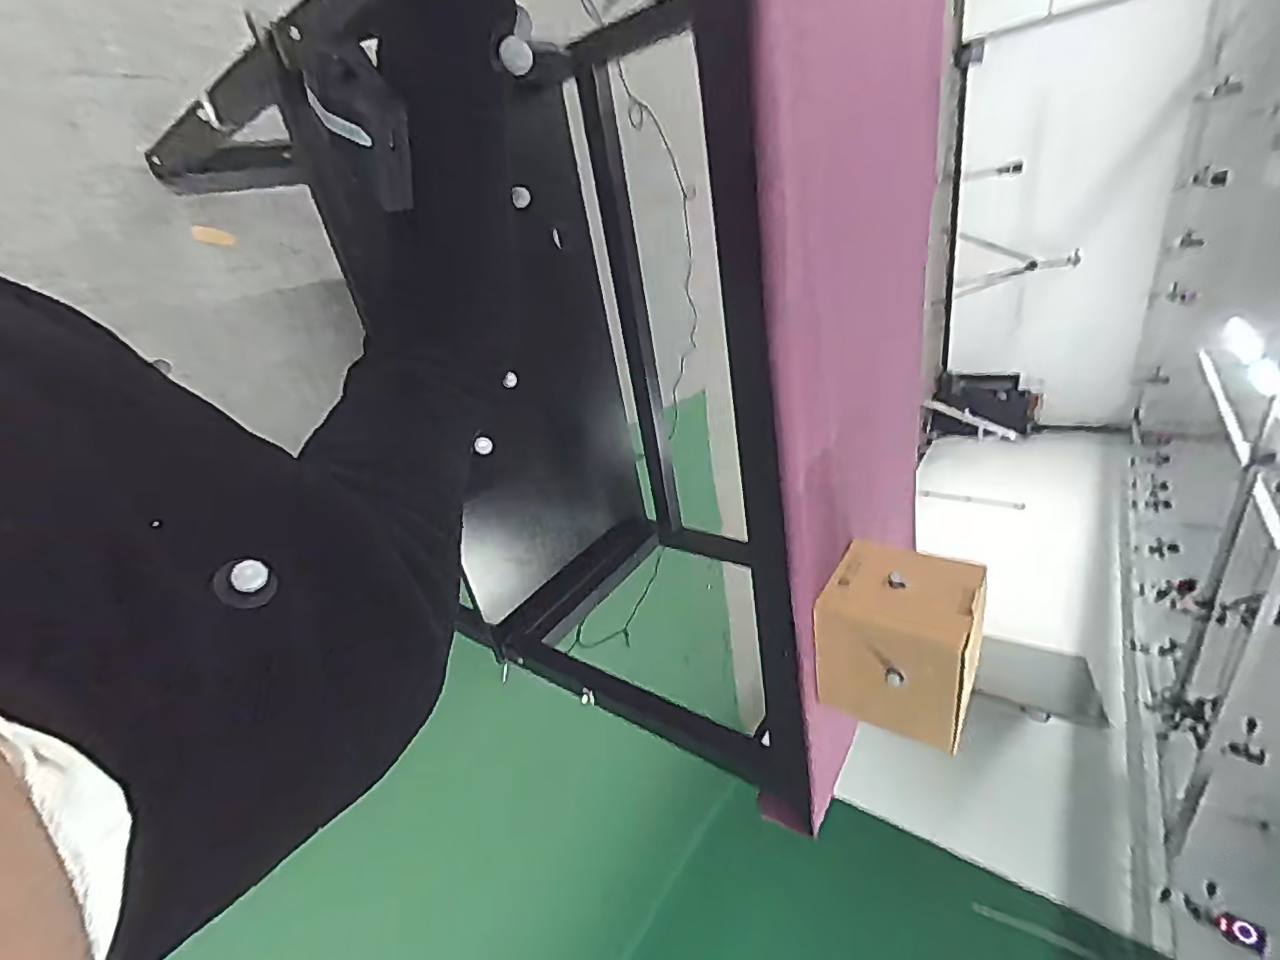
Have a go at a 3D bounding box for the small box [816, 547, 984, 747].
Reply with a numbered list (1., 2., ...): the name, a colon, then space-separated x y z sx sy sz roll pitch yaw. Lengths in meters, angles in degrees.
1. small box: 0.341 0.203 0.715 0.168 0.176 0.179 -37 124 -43
